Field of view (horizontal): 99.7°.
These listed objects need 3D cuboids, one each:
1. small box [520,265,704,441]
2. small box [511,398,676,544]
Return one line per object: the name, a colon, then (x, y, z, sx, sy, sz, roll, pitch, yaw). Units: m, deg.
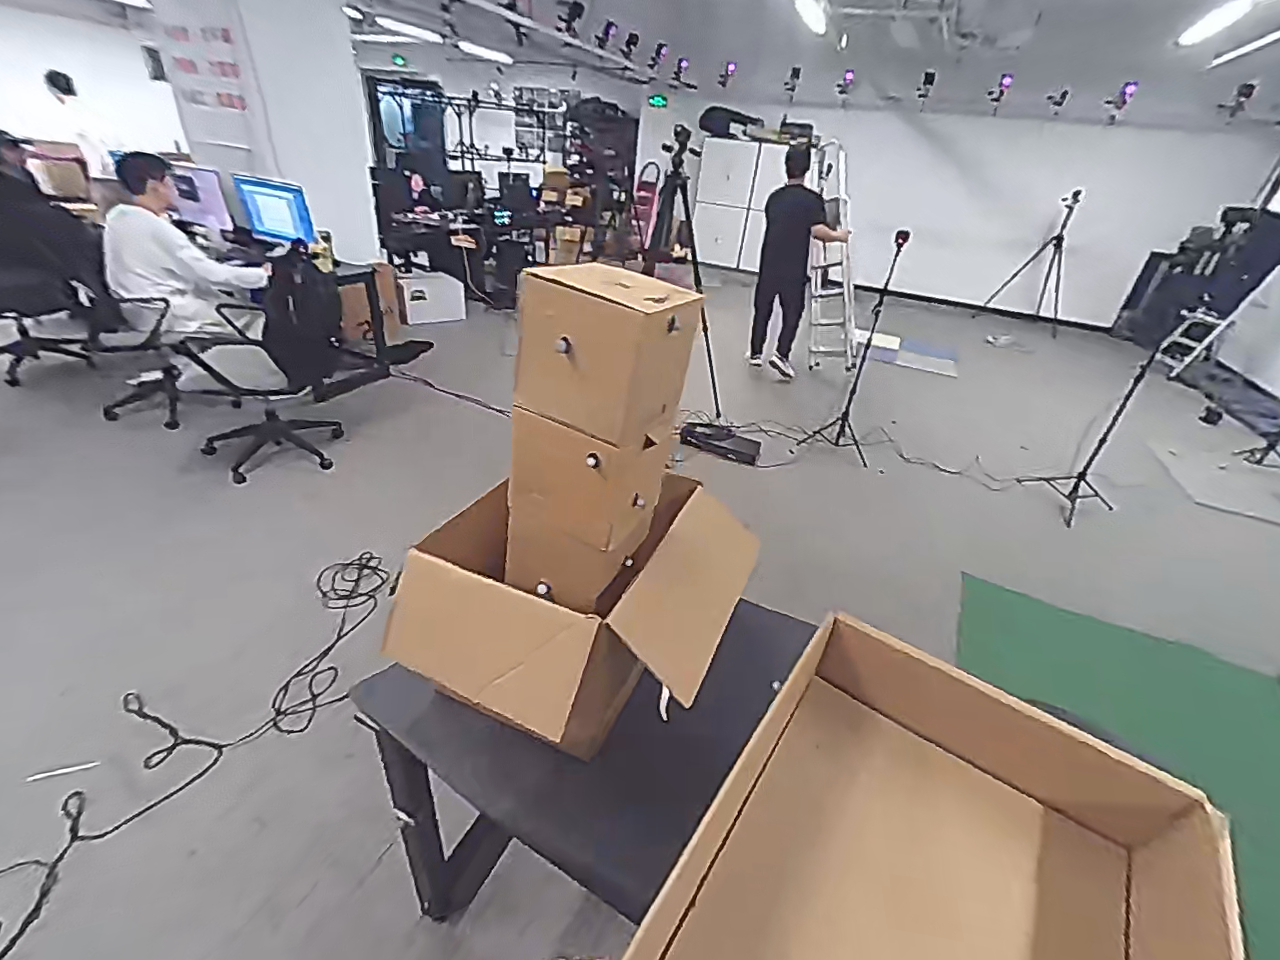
small box: (-0.041, -0.171, 0.711, 0.179, 0.176, 0.168, 24, 33, 18)
small box: (-0.073, -0.033, 0.794, 0.179, 0.176, 0.168, 24, 33, 17)
